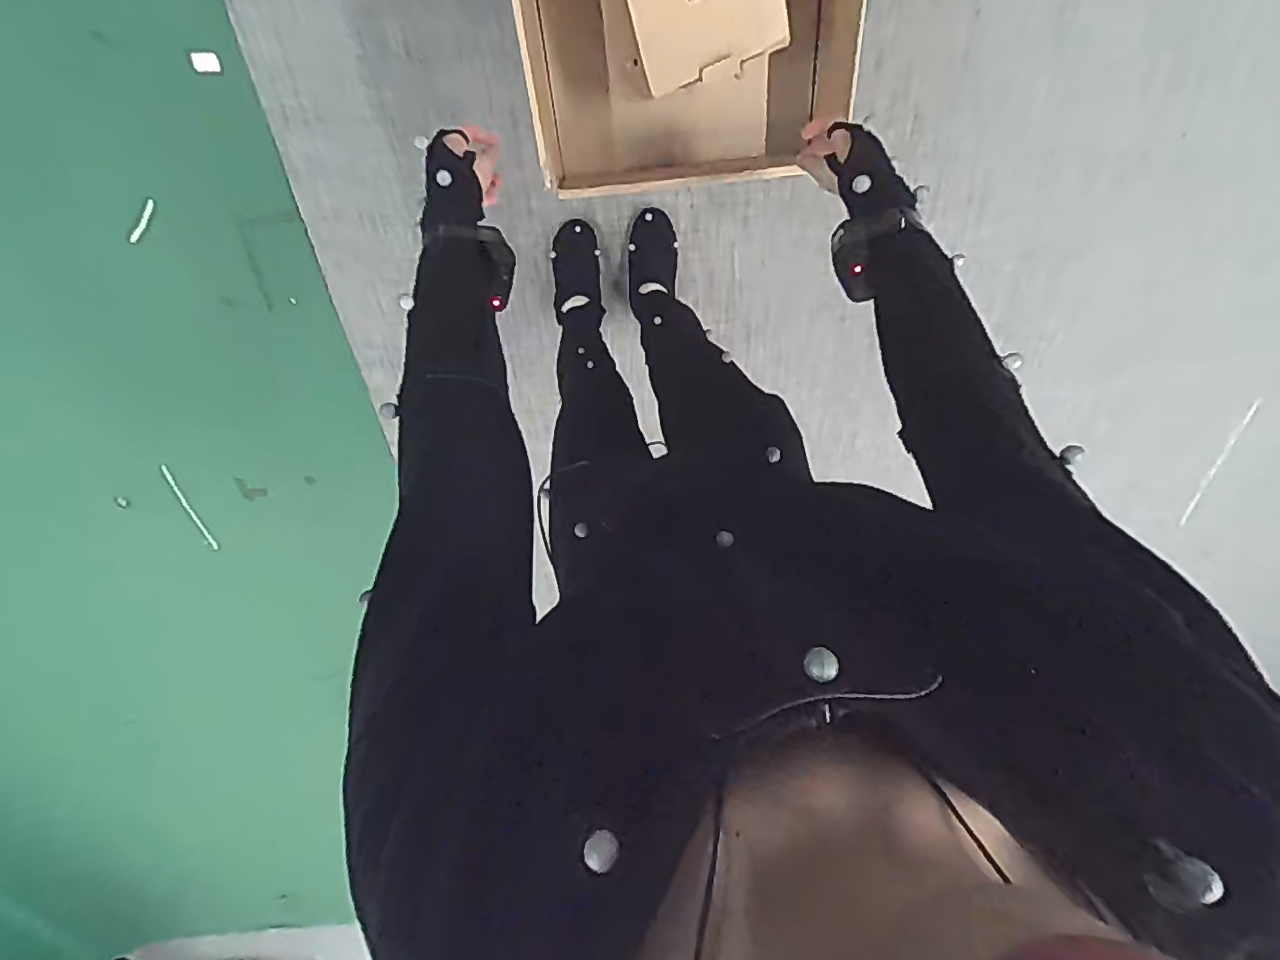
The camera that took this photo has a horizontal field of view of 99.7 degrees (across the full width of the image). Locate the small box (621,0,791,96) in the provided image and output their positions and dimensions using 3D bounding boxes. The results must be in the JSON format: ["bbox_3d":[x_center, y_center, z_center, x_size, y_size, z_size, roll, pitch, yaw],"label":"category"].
[{"bbox_3d":[0.064,-0.581,0.634,0.168,0.176,0.179,-17,124,8],"label":"small box"}]
